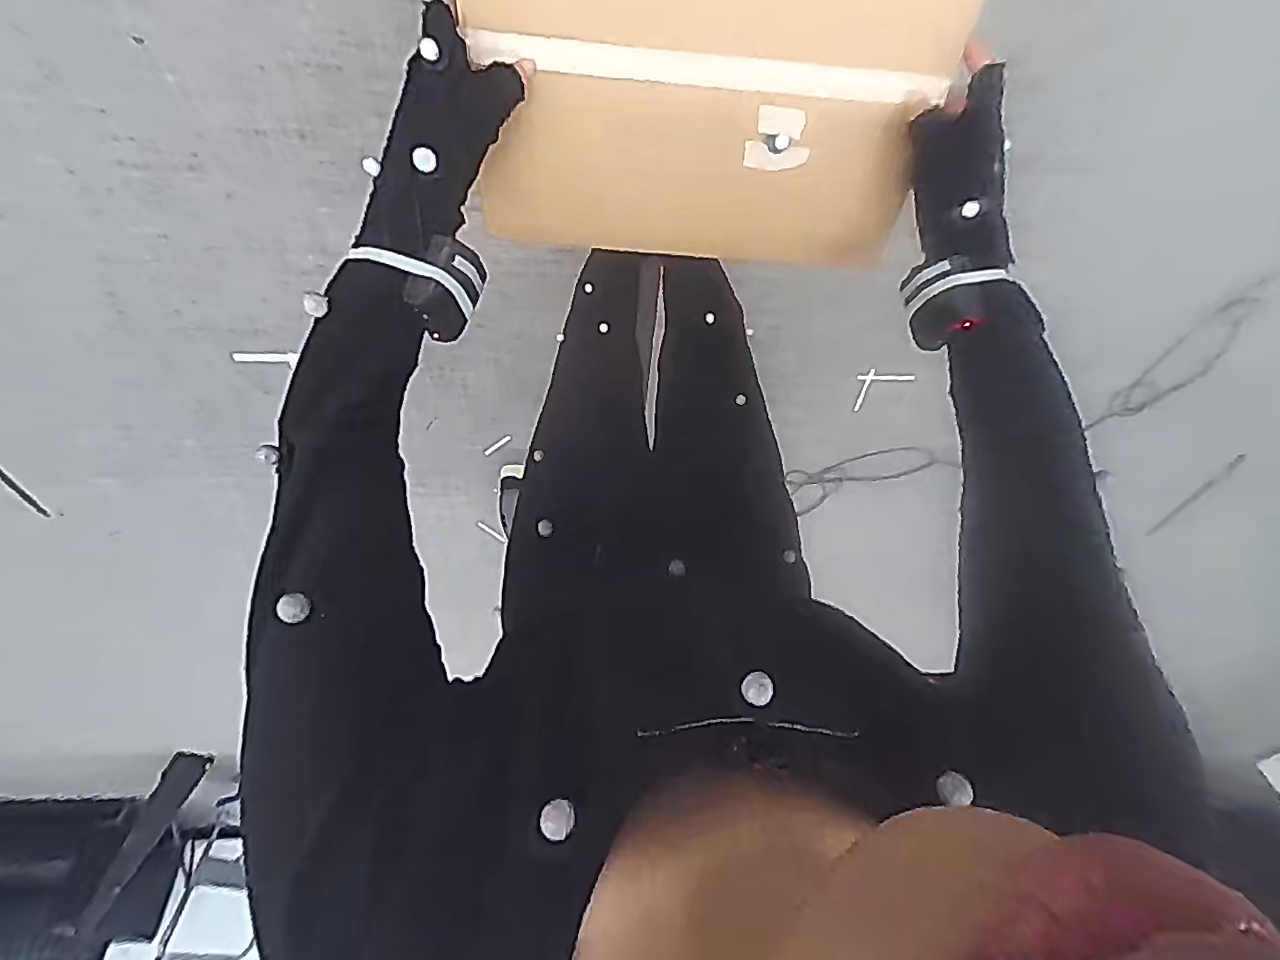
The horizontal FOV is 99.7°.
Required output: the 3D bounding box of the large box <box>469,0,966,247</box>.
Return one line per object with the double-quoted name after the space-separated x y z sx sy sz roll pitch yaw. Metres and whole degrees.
0.055 -0.464 0.560 0.408 0.320 0.320 2 136 -4 "large box"
